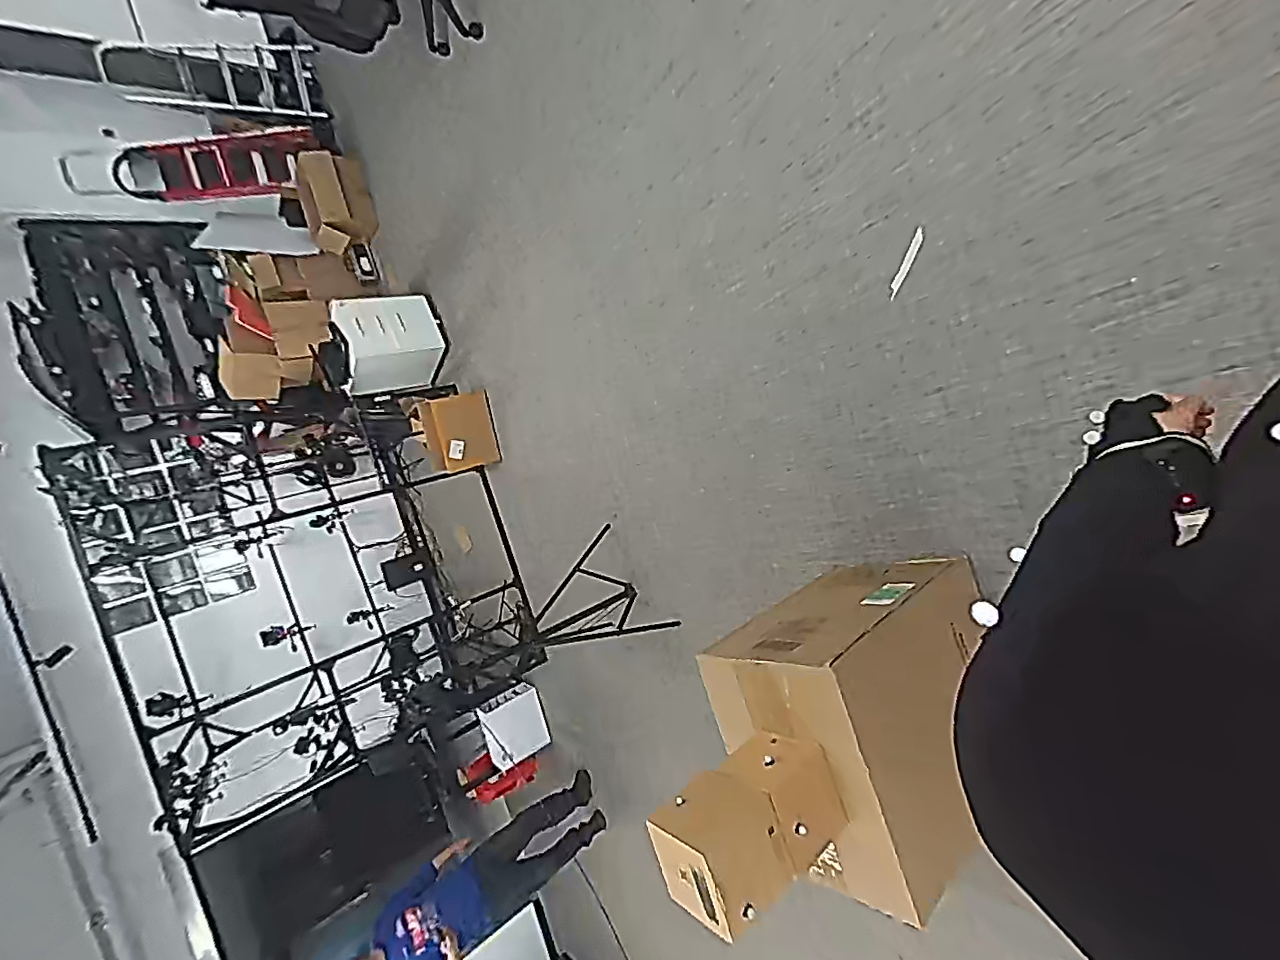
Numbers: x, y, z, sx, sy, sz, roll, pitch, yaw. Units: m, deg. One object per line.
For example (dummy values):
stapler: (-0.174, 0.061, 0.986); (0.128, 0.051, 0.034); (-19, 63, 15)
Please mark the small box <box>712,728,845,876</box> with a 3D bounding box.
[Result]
small box: (0.280, 0.632, 1.091); (0.168, 0.176, 0.179); (-19, 91, 54)
